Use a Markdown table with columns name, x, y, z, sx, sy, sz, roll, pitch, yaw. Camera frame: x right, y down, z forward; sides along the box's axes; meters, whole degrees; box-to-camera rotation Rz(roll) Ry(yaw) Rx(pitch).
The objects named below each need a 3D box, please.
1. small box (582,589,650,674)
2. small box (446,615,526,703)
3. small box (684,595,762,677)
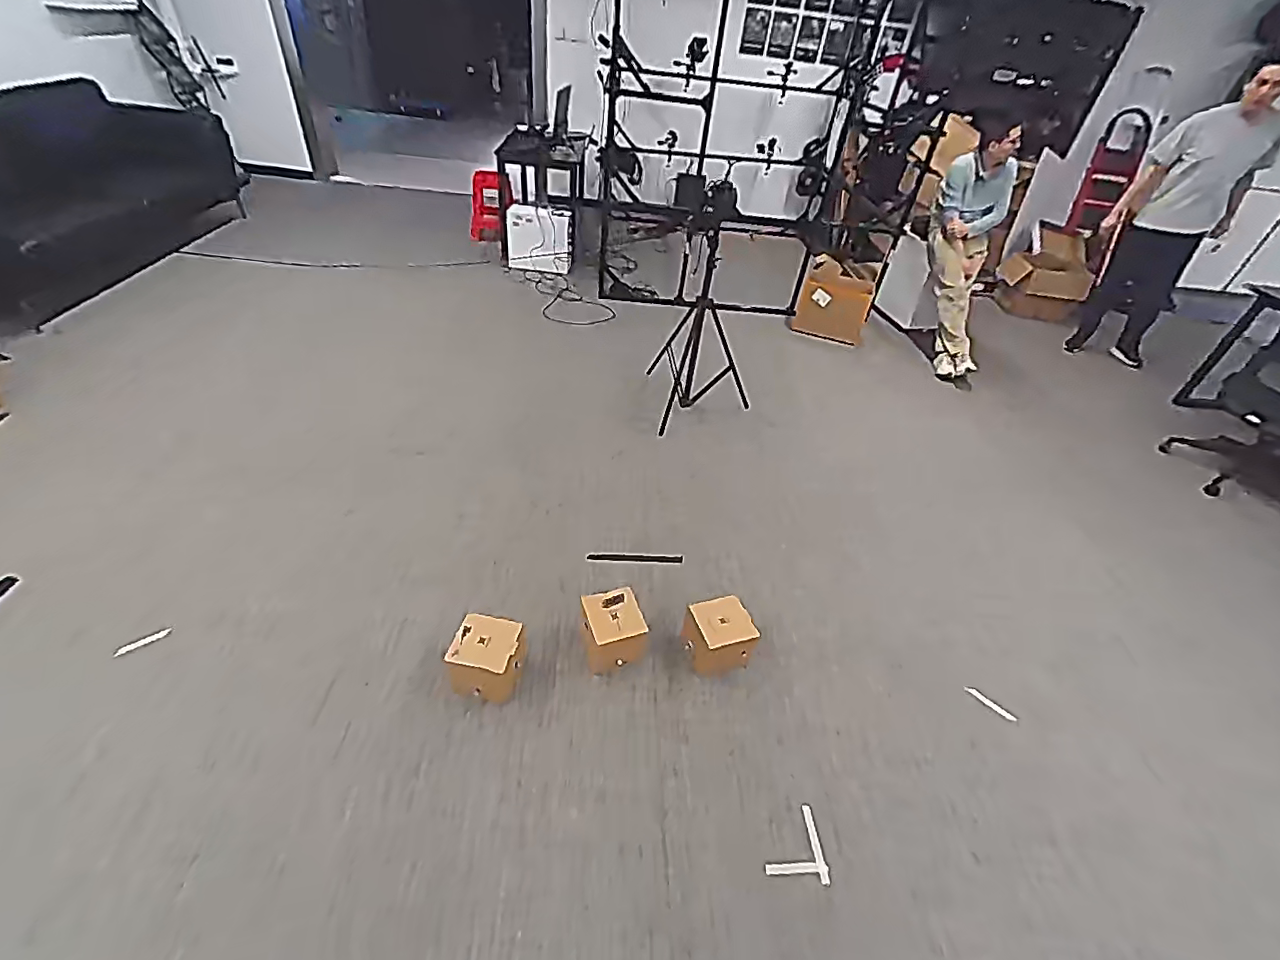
| name | x | y | z | sx | sy | sz | roll | pitch | yaw |
| --- | --- | --- | --- | --- | --- | --- | --- | --- | --- |
| small box | -0.081 | 0.474 | 1.697 | 0.168 | 0.176 | 0.179 | -10 | 43 | -19 |
| small box | -0.442 | 0.527 | 1.585 | 0.179 | 0.176 | 0.168 | 11 | 40 | 5 |
| small box | 0.257 | 0.498 | 1.722 | 0.179 | 0.176 | 0.168 | -10 | 42 | -18 |
